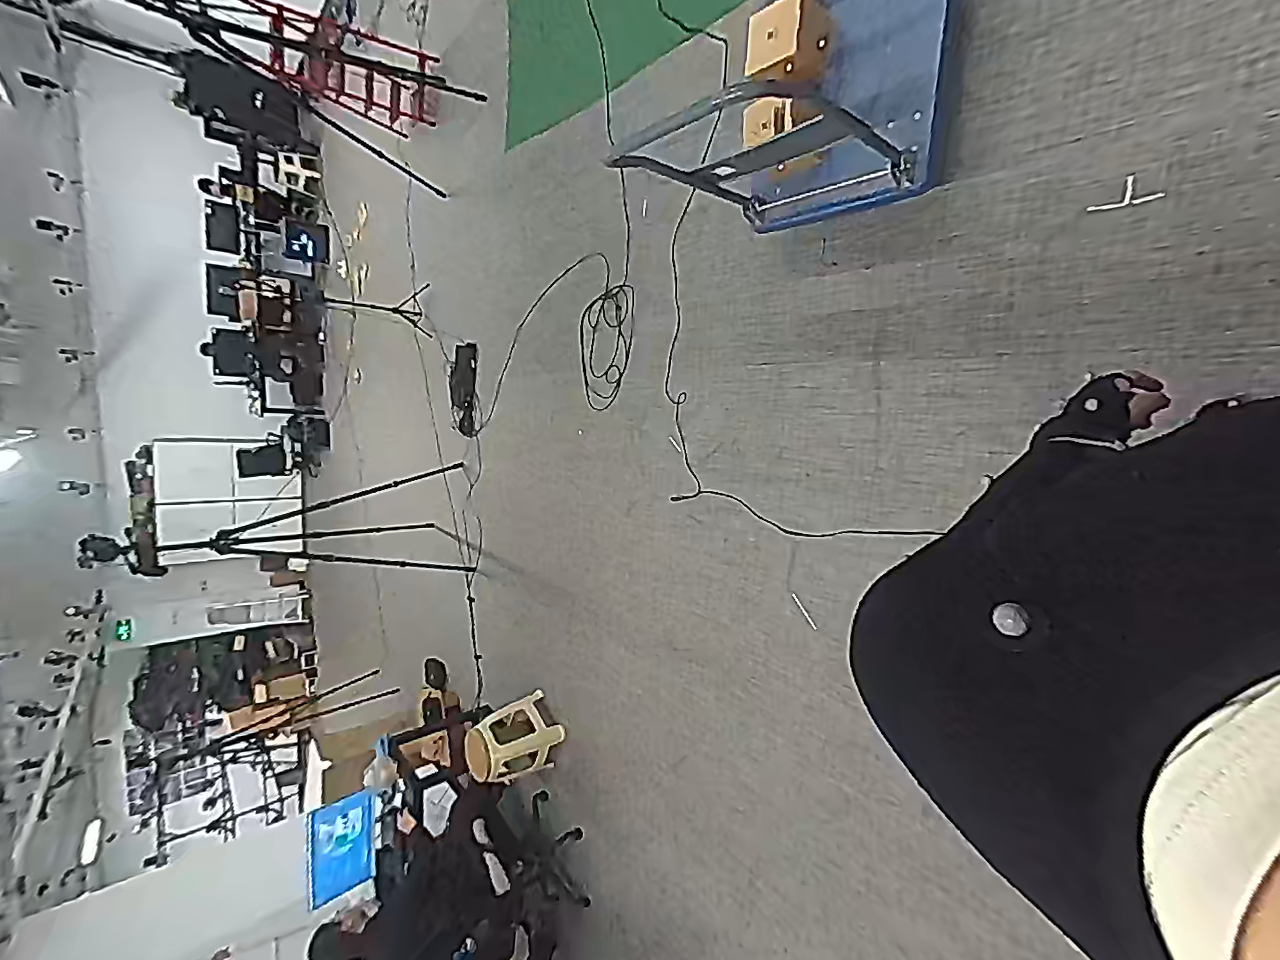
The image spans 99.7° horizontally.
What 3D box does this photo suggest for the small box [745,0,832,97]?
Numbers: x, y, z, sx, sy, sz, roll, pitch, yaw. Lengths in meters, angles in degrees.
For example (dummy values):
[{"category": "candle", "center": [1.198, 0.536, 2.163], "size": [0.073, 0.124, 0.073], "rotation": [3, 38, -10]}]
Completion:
[{"category": "small box", "center": [0.435, -1.269, 1.585], "size": [0.179, 0.176, 0.168], "rotation": [12, 101, 46]}]
